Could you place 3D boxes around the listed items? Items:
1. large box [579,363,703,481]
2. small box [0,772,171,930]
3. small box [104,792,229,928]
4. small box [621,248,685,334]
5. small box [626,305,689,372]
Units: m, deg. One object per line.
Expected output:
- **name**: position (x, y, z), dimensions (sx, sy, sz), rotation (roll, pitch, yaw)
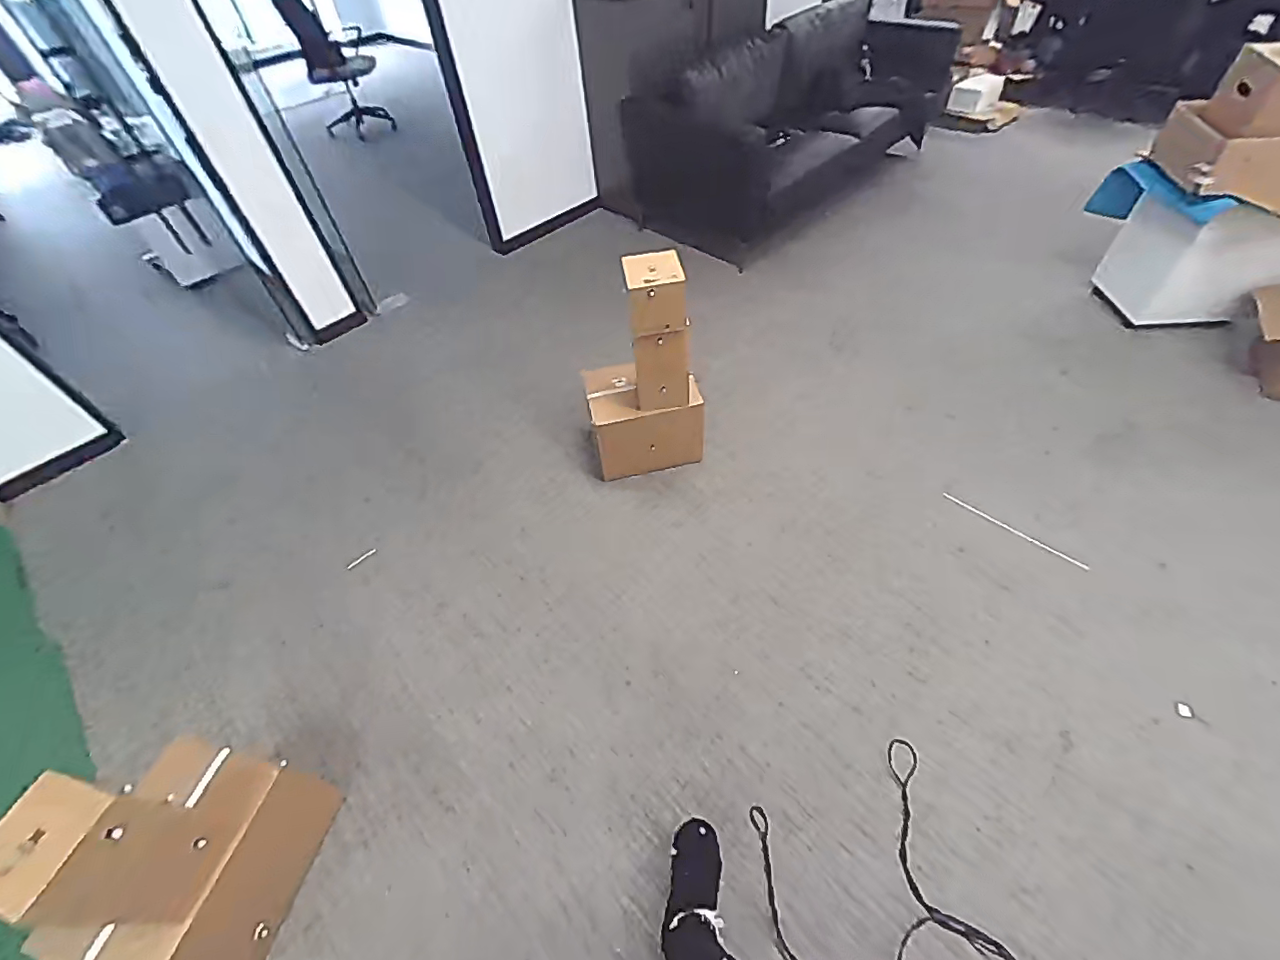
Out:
- **large box**: position (0.008, -0.243, 2.101), dimensions (0.408, 0.320, 0.320), rotation (-13, 49, -5)
- **small box**: position (-0.964, 0.632, 0.921), dimensions (0.168, 0.176, 0.179), rotation (9, 52, 14)
- **small box**: position (-0.954, 0.736, 1.047), dimensions (0.168, 0.176, 0.179), rotation (8, 52, 12)
- **small box**: position (0.040, -0.564, 1.620), dimensions (0.168, 0.176, 0.179), rotation (-10, 50, -1)
- **small box**: position (0.058, -0.474, 1.757), dimensions (0.179, 0.176, 0.168), rotation (-11, 51, -2)
